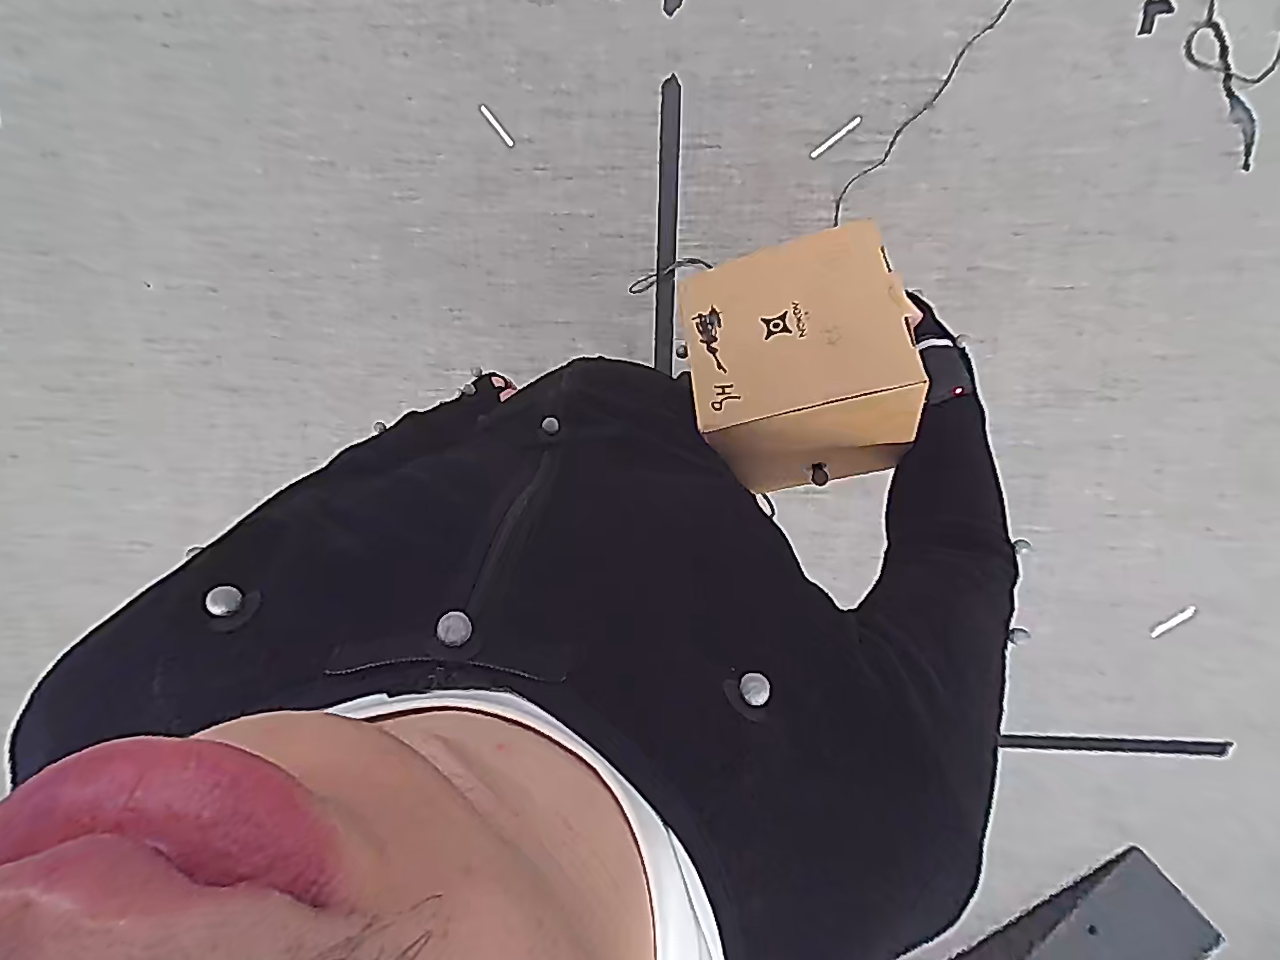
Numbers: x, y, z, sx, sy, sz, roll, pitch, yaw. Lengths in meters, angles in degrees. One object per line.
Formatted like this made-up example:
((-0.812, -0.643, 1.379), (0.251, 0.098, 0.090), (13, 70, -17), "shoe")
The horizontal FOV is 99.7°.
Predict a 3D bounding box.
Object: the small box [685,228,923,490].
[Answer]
((0.156, -0.104, 0.536), (0.179, 0.176, 0.168), (-12, 65, 16), "small box")
